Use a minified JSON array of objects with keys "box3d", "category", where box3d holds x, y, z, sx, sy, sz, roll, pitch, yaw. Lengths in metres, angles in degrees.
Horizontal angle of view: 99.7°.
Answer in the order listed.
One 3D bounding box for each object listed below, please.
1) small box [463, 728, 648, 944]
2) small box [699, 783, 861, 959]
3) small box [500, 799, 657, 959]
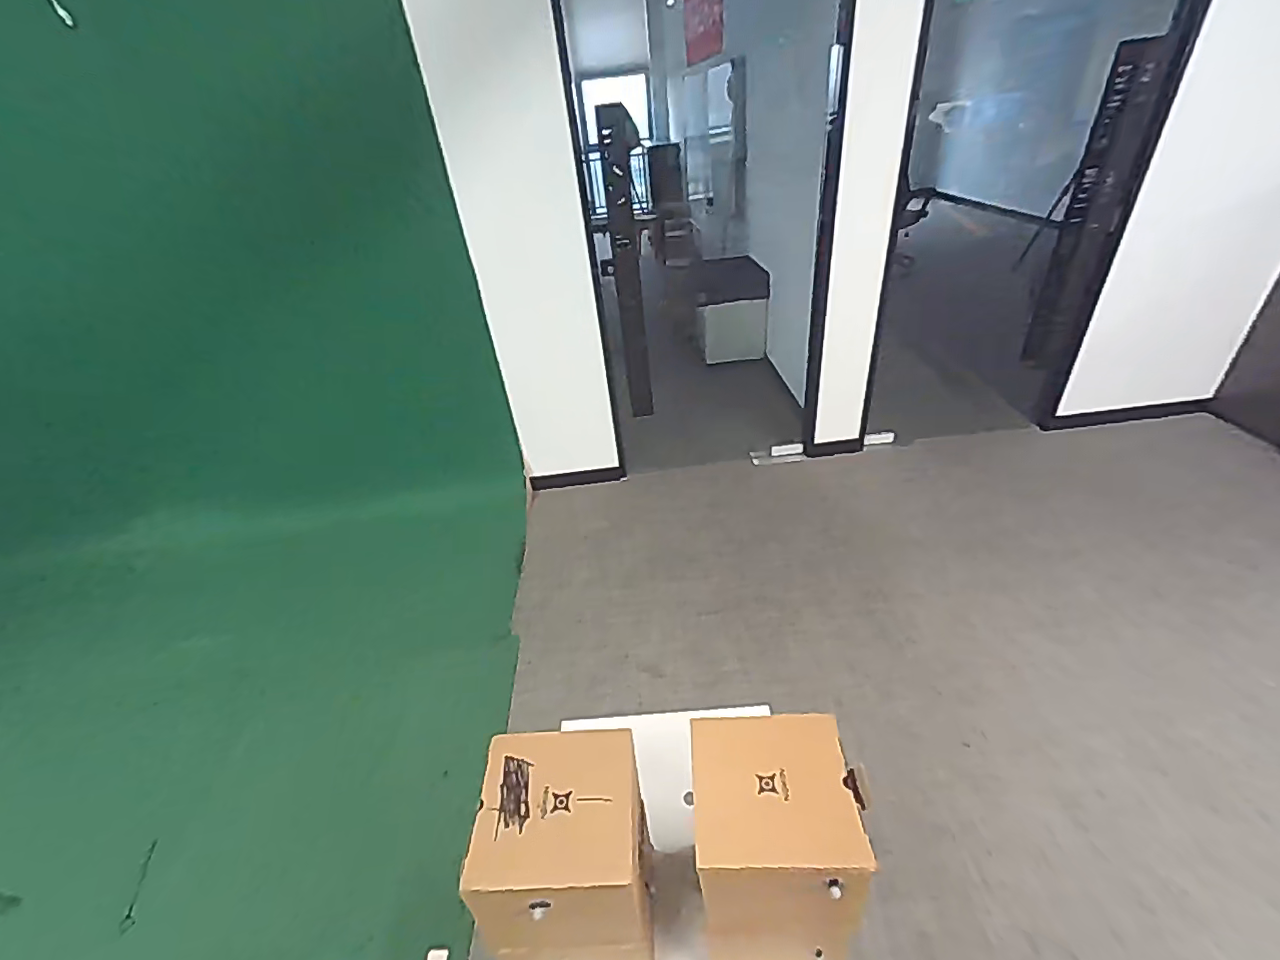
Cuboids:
[{"box3d":[-0.085,0.420,0.642,0.179,0.176,0.168,-4,35,1],"category":"small box"},{"box3d":[0.175,0.535,0.726,0.179,0.176,0.168,-6,34,4],"category":"small box"},{"box3d":[-0.070,0.559,0.732,0.179,0.176,0.168,-3,35,2],"category":"small box"}]
